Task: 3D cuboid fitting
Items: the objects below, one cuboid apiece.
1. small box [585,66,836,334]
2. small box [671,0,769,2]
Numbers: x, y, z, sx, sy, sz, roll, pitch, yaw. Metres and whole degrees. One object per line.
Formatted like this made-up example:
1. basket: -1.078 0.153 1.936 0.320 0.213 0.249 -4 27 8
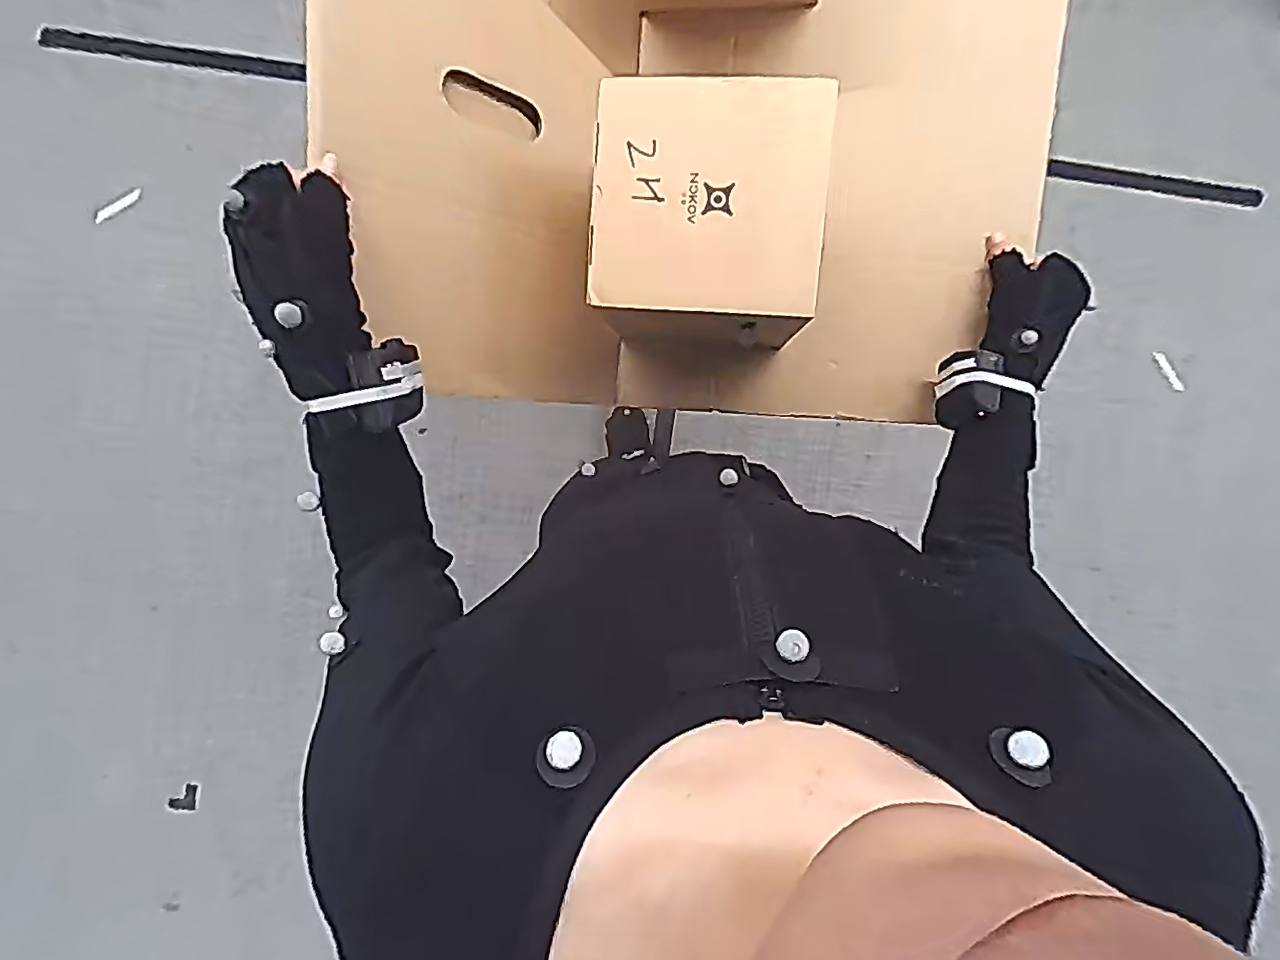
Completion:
1. small box: 0.058 -0.230 0.488 0.179 0.176 0.168 6 97 7
2. small box: 0.077 -0.547 0.451 0.179 0.176 0.168 3 97 6
